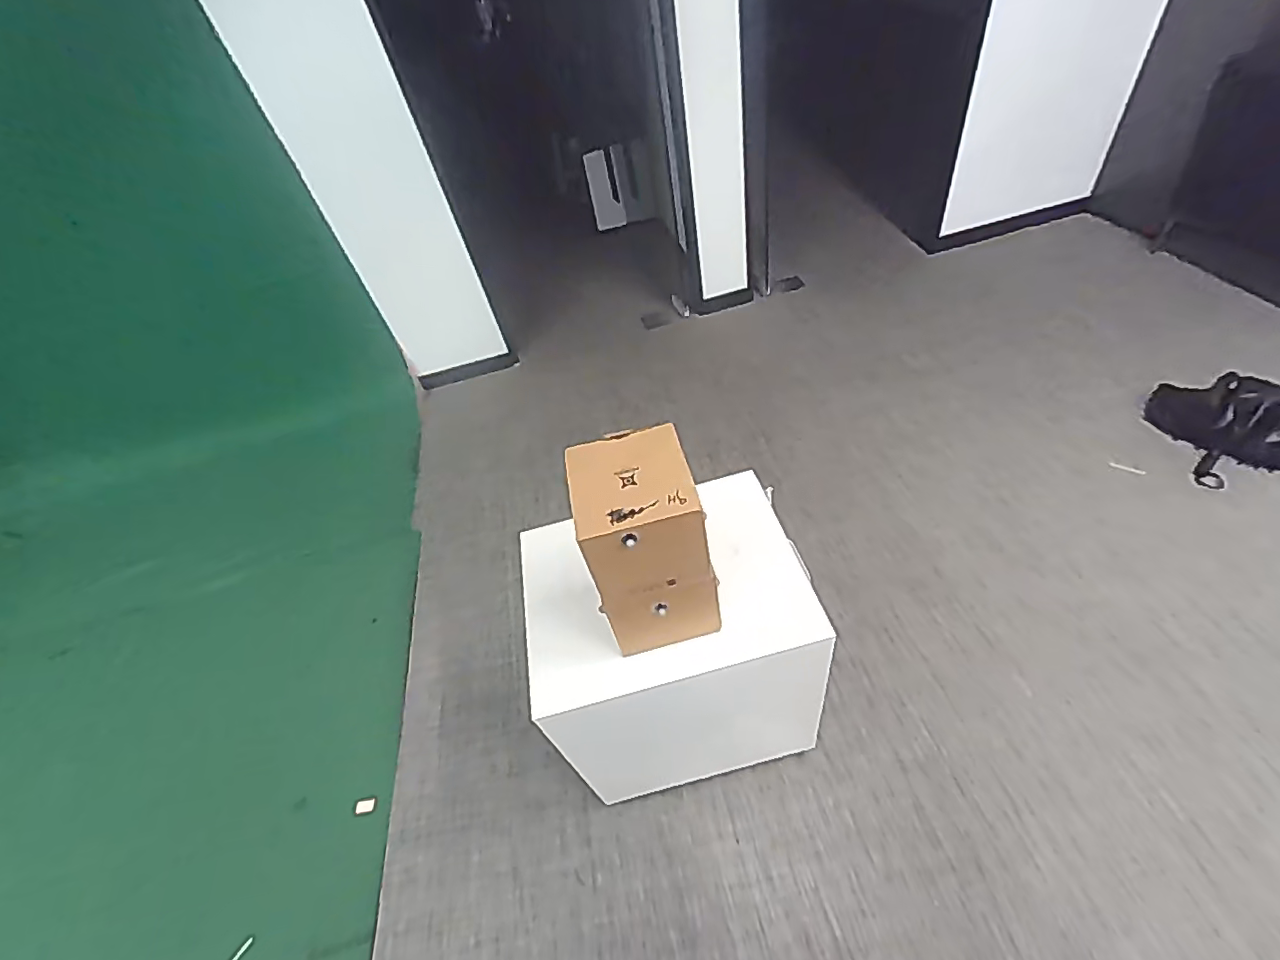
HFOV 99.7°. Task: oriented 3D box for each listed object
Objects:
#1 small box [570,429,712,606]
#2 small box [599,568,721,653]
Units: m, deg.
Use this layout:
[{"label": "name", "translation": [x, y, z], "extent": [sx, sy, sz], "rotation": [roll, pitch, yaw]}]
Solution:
[{"label": "small box", "translation": [0.002, 0.056, 0.802], "extent": [0.168, 0.176, 0.179], "rotation": [-15, 46, -3]}, {"label": "small box", "translation": [0.028, 0.169, 0.914], "extent": [0.179, 0.176, 0.168], "rotation": [-15, 46, -2]}]
